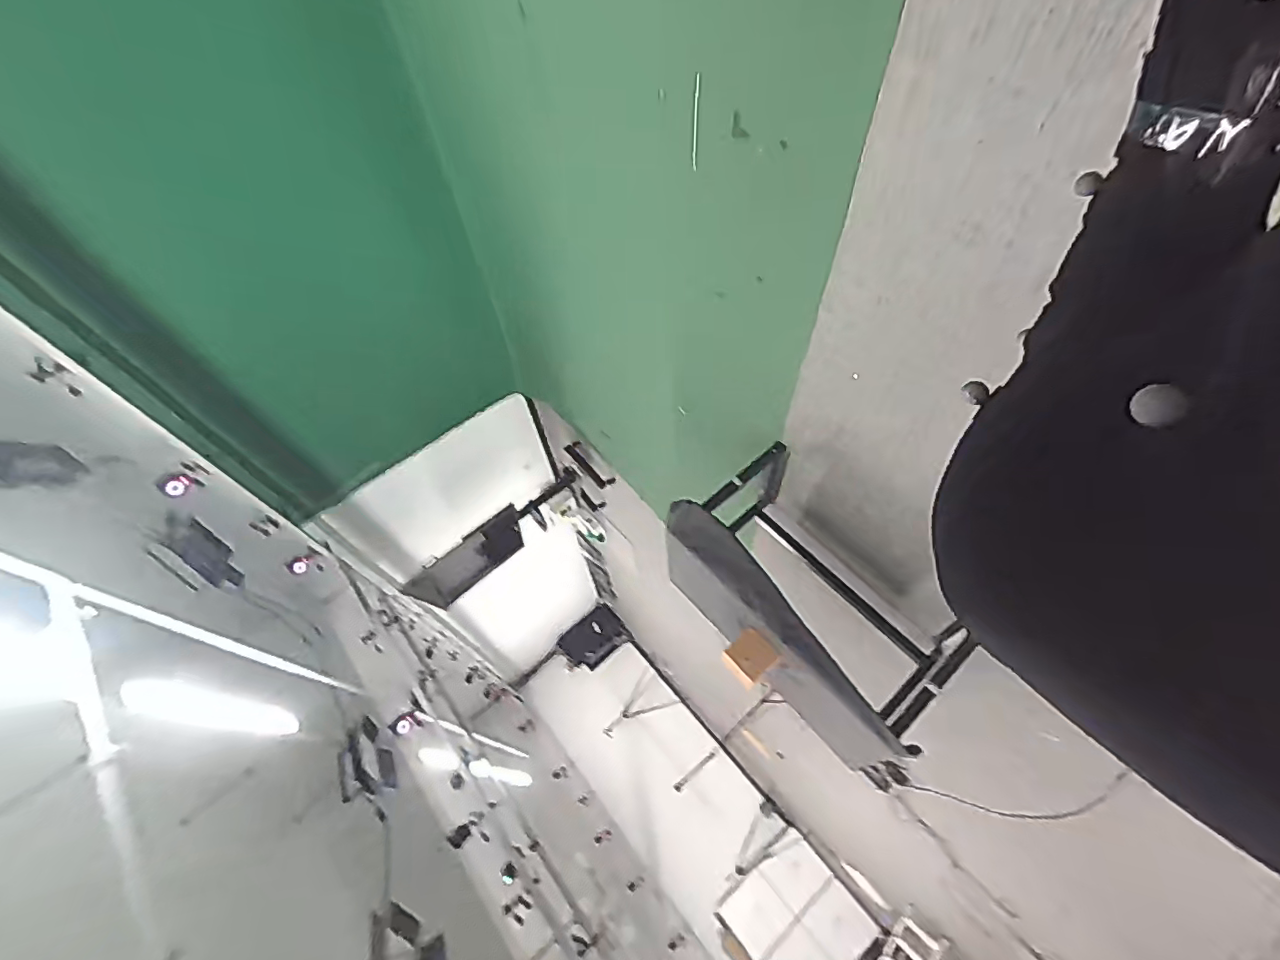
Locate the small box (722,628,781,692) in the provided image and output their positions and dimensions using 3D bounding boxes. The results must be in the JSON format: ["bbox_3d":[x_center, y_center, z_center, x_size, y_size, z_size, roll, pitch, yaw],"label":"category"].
[{"bbox_3d":[0.473,0.762,2.297,0.179,0.176,0.168,45,160,28],"label":"small box"}]
